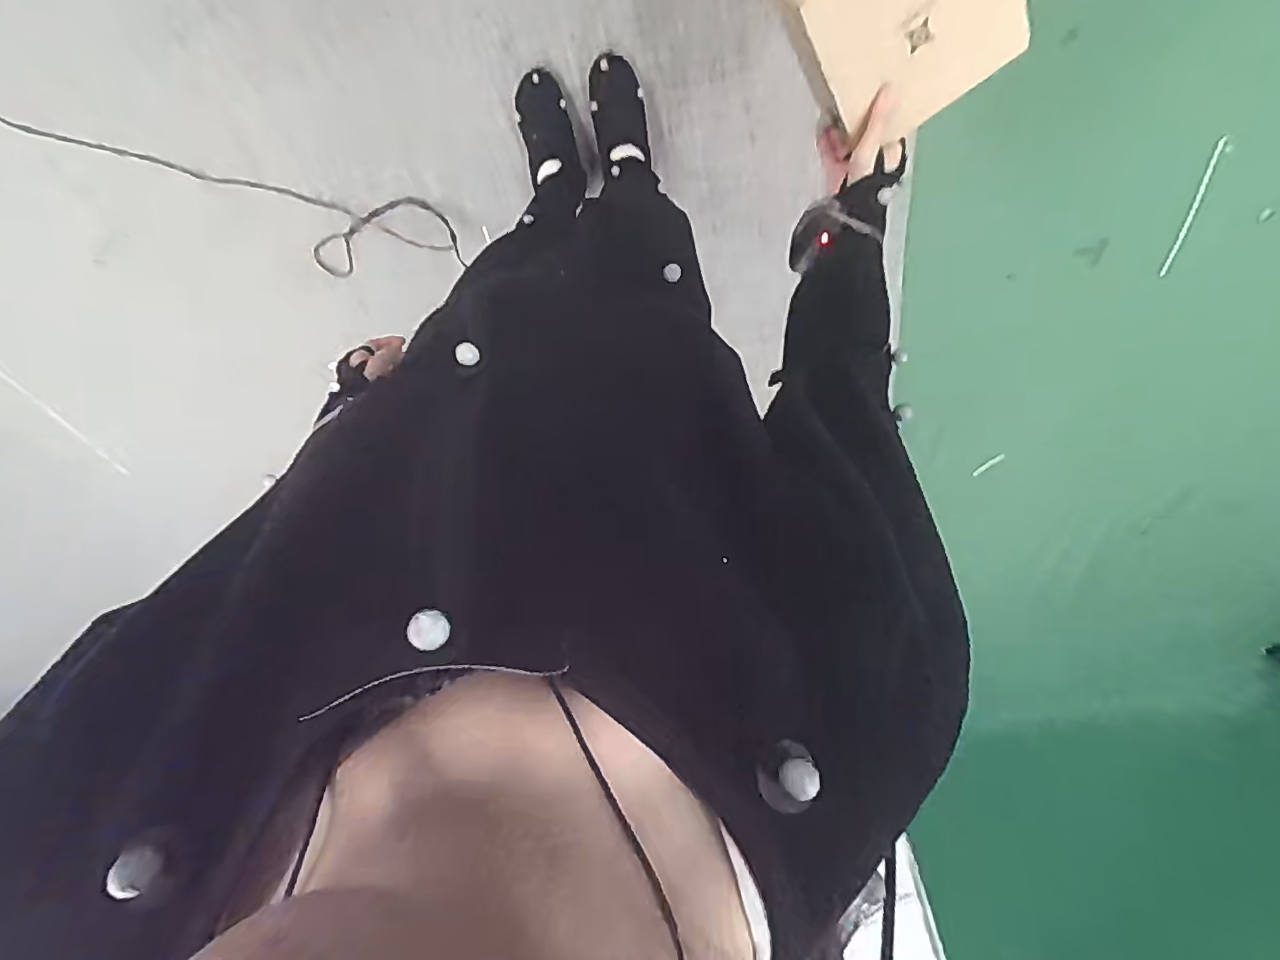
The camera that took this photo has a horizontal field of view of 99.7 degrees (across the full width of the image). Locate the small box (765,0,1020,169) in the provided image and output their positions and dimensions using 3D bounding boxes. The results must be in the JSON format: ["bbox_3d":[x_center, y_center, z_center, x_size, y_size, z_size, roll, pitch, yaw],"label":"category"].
[{"bbox_3d":[0.240,-0.468,0.538,0.168,0.176,0.179,-29,139,25],"label":"small box"}]
